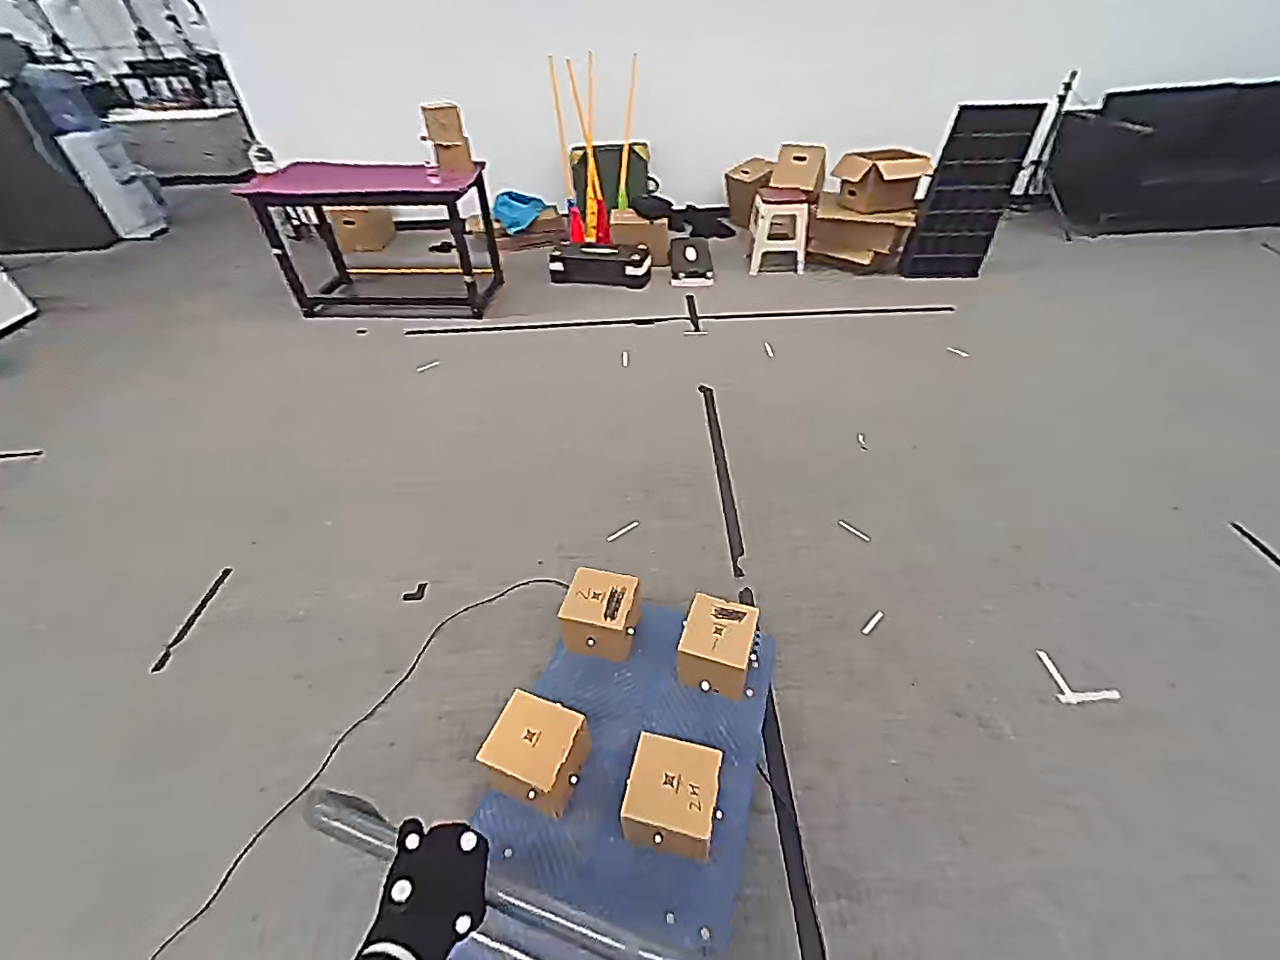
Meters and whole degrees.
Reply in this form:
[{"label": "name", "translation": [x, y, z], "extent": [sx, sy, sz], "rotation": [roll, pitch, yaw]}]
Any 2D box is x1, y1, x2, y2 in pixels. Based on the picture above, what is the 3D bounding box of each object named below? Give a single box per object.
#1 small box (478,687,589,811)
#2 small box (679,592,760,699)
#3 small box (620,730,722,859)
[{"label": "small box", "translation": [-0.227, 0.600, 1.199], "extent": [0.179, 0.176, 0.168], "rotation": [15, 44, 16]}, {"label": "small box", "translation": [0.199, 0.420, 1.374], "extent": [0.168, 0.176, 0.179], "rotation": [12, 46, 16]}, {"label": "small box", "translation": [0.068, 0.655, 1.124], "extent": [0.179, 0.176, 0.168], "rotation": [9, 44, 13]}]
